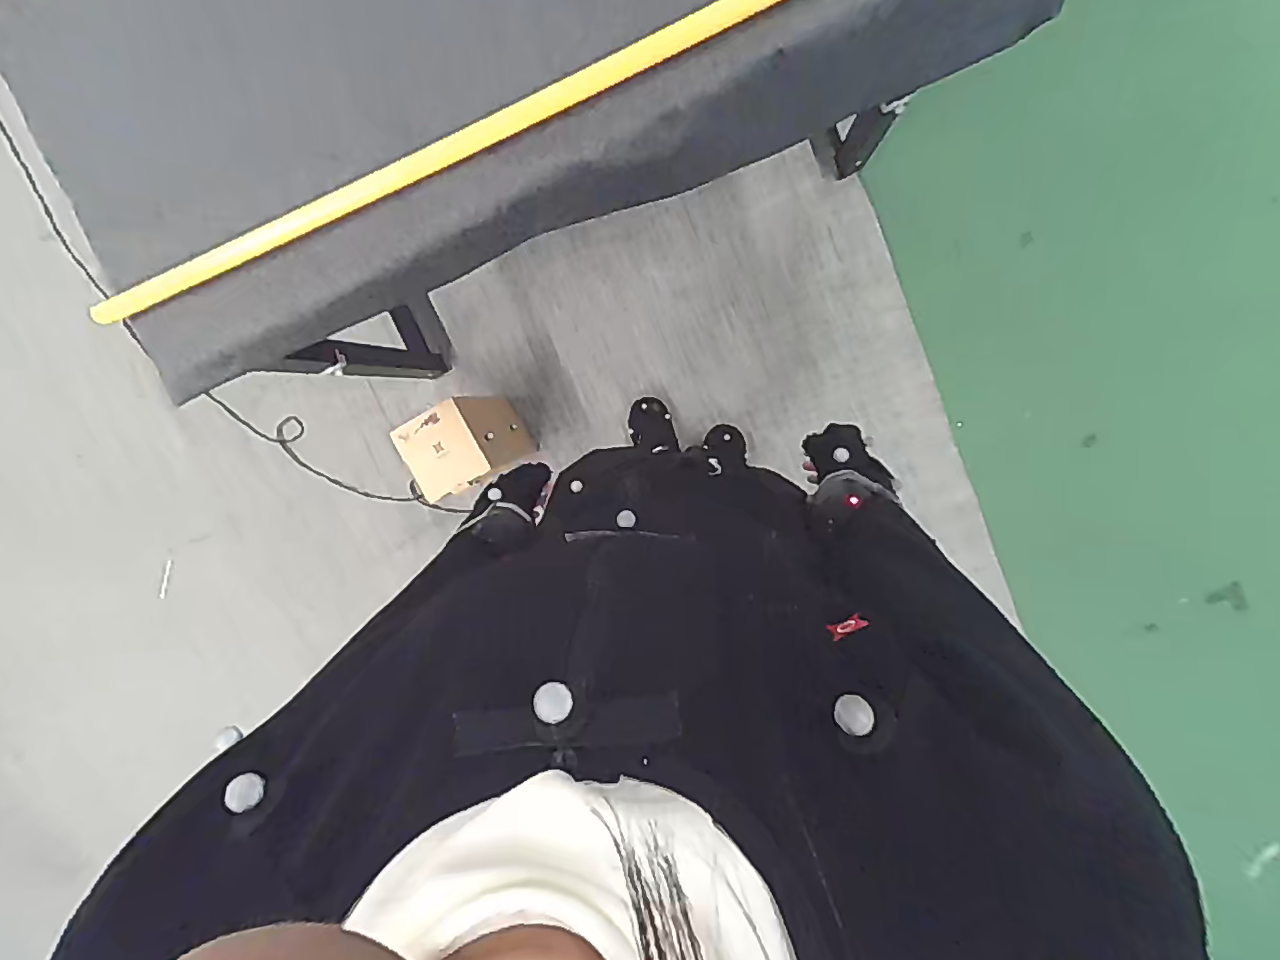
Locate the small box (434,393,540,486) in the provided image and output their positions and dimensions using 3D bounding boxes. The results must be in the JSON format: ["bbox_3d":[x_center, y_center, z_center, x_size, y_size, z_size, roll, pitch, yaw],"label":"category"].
[{"bbox_3d":[-0.383,-0.106,1.380,0.168,0.176,0.179,-30,95,11],"label":"small box"}]
